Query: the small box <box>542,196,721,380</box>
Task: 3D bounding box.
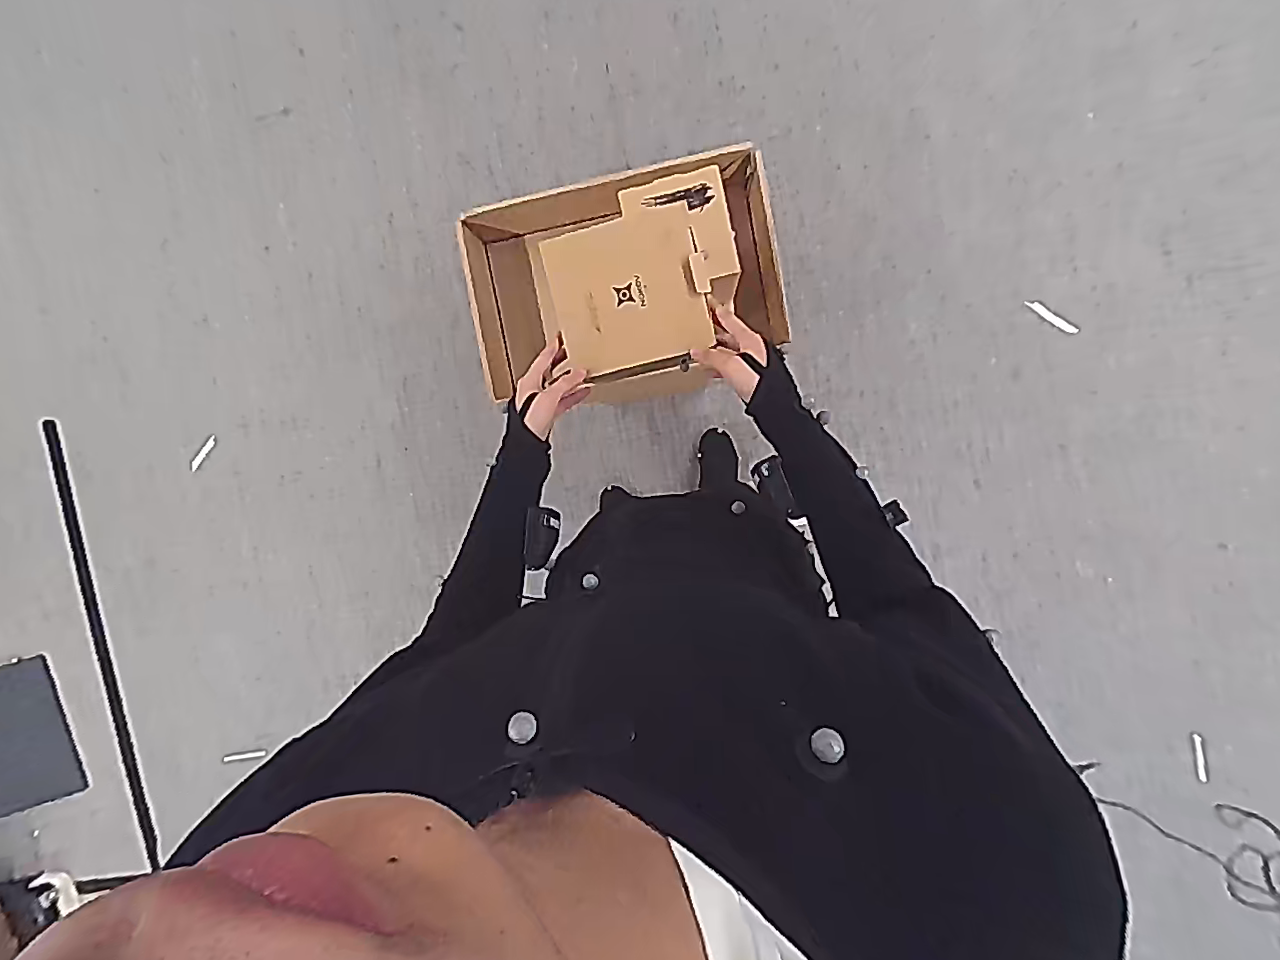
[{"bbox_3d":[-0.003,-0.227,0.687,0.179,0.176,0.168,-13,97,8],"label":"small box"}]
